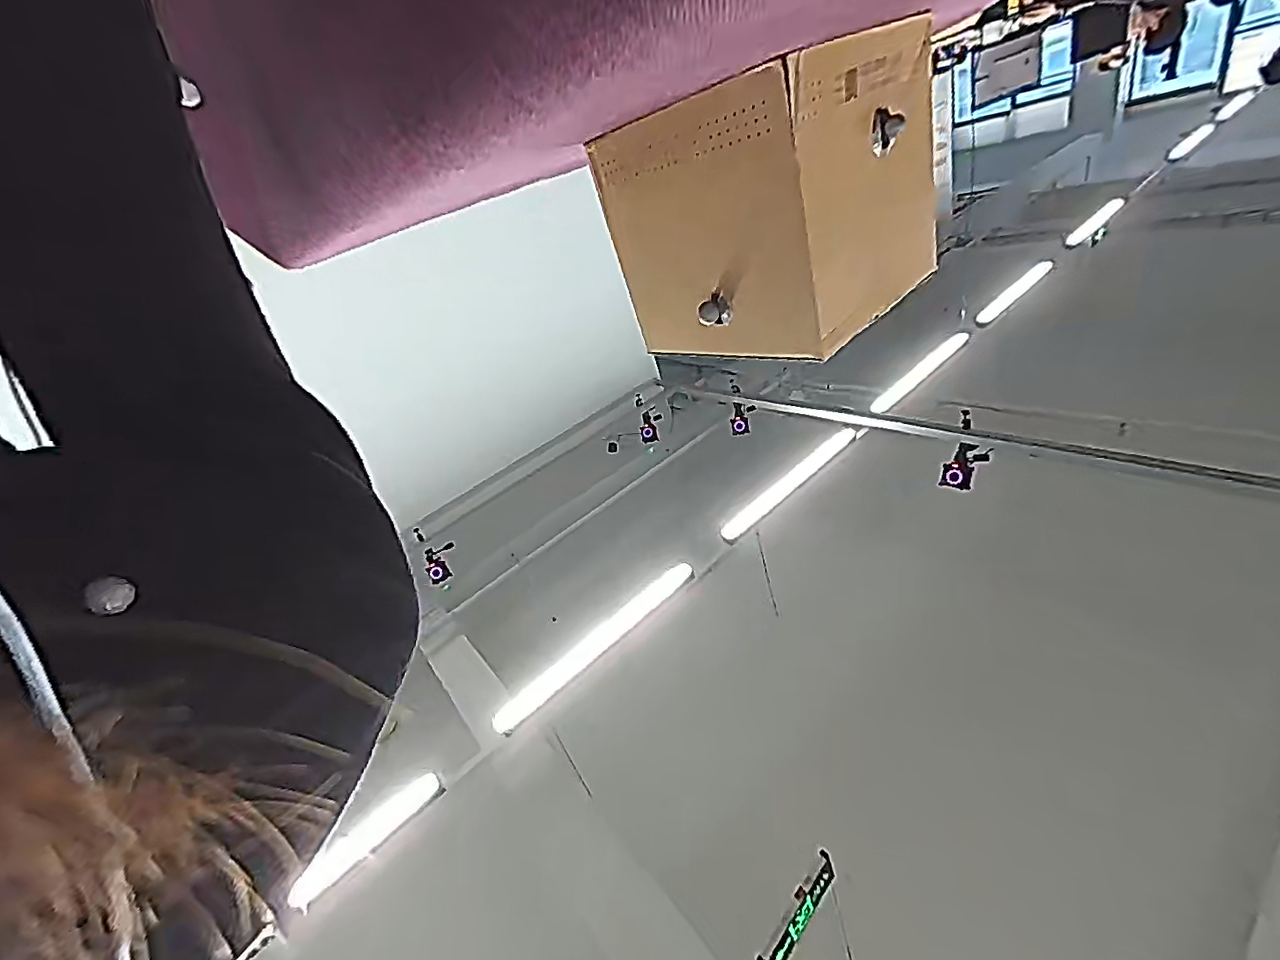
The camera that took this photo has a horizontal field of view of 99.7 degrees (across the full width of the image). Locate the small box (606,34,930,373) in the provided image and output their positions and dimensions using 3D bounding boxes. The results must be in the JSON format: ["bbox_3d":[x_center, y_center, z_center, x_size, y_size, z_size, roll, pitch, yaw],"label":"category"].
[{"bbox_3d":[0.094,-0.197,0.408,0.168,0.176,0.179,-38,-147,-27],"label":"small box"}]
